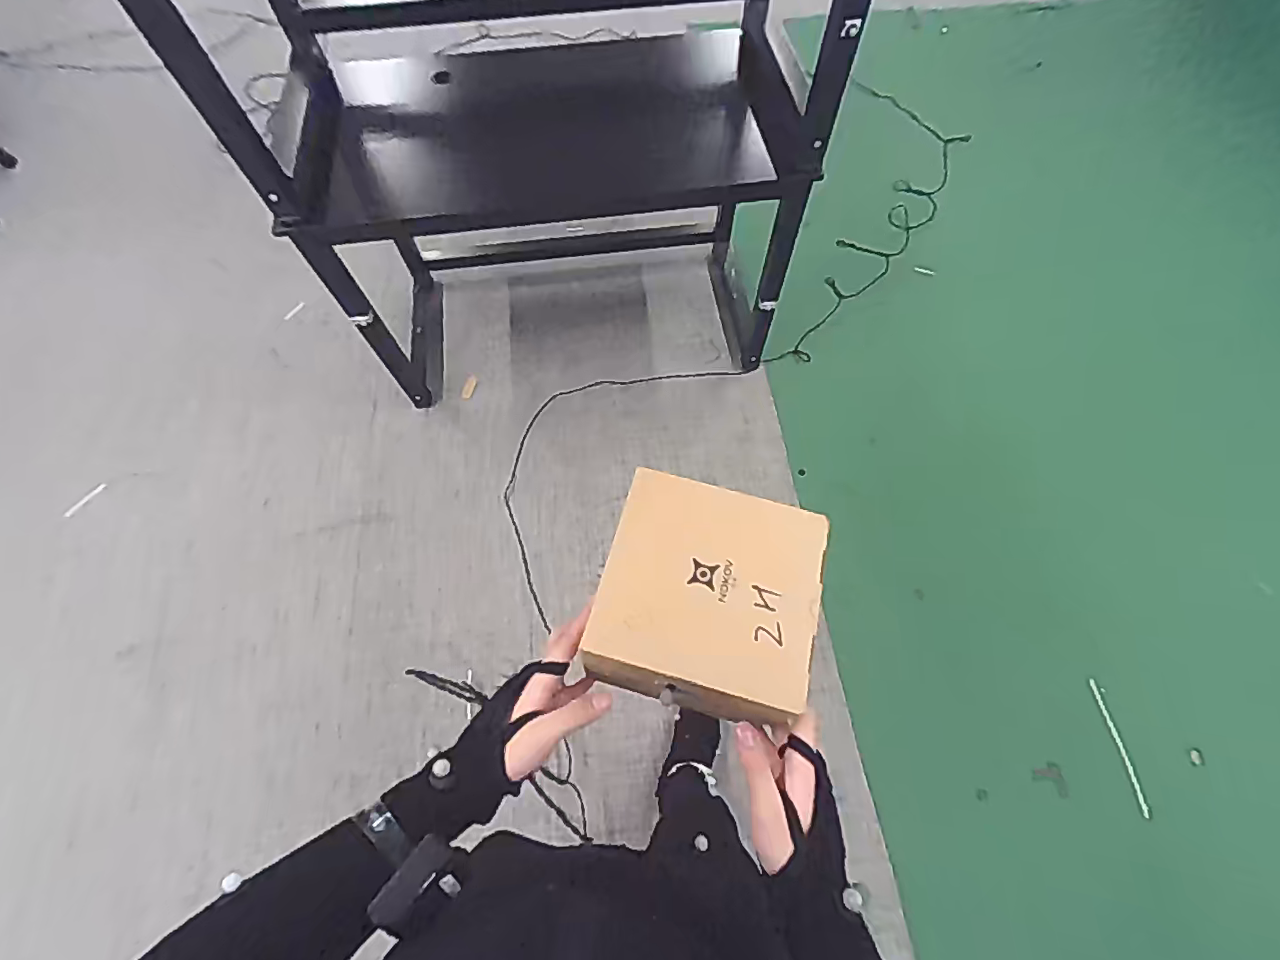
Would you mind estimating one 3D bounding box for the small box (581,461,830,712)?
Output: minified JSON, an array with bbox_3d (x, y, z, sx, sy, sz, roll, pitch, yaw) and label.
[{"bbox_3d":[0.056,0.110,0.509,0.179,0.176,0.168,16,64,5],"label":"small box"}]
